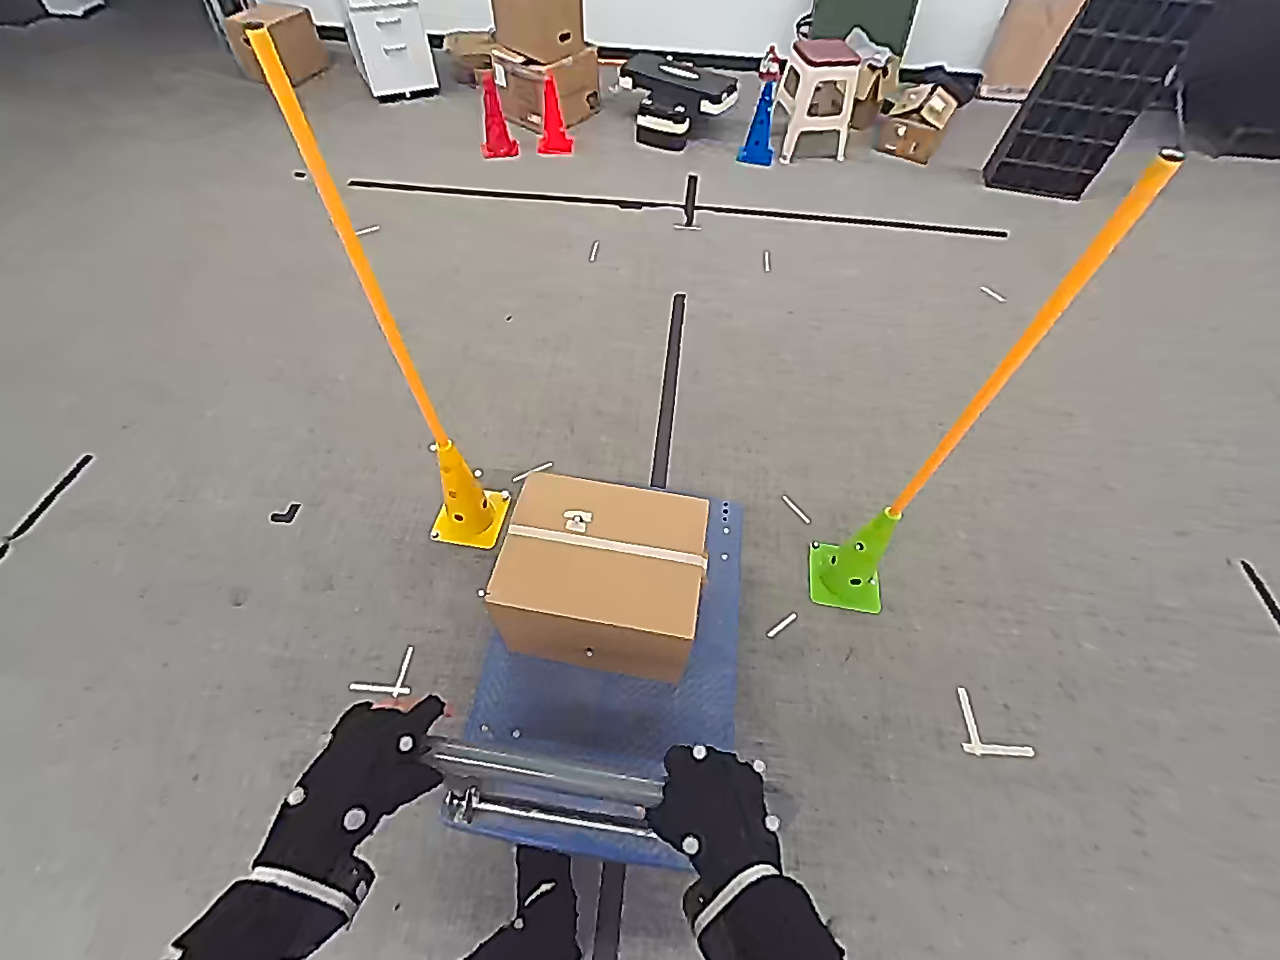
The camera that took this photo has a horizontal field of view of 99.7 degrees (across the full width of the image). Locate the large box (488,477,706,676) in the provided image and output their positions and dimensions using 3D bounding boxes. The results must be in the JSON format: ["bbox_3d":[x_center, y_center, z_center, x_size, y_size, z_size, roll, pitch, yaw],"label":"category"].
[{"bbox_3d":[-0.075,0.226,1.229,0.408,0.320,0.320,9,55,5],"label":"large box"}]

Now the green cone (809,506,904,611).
[{"bbox_3d":[0.610,0.185,1.459,0.202,0.368,0.200,10,55,3],"label":"green cone"}]
